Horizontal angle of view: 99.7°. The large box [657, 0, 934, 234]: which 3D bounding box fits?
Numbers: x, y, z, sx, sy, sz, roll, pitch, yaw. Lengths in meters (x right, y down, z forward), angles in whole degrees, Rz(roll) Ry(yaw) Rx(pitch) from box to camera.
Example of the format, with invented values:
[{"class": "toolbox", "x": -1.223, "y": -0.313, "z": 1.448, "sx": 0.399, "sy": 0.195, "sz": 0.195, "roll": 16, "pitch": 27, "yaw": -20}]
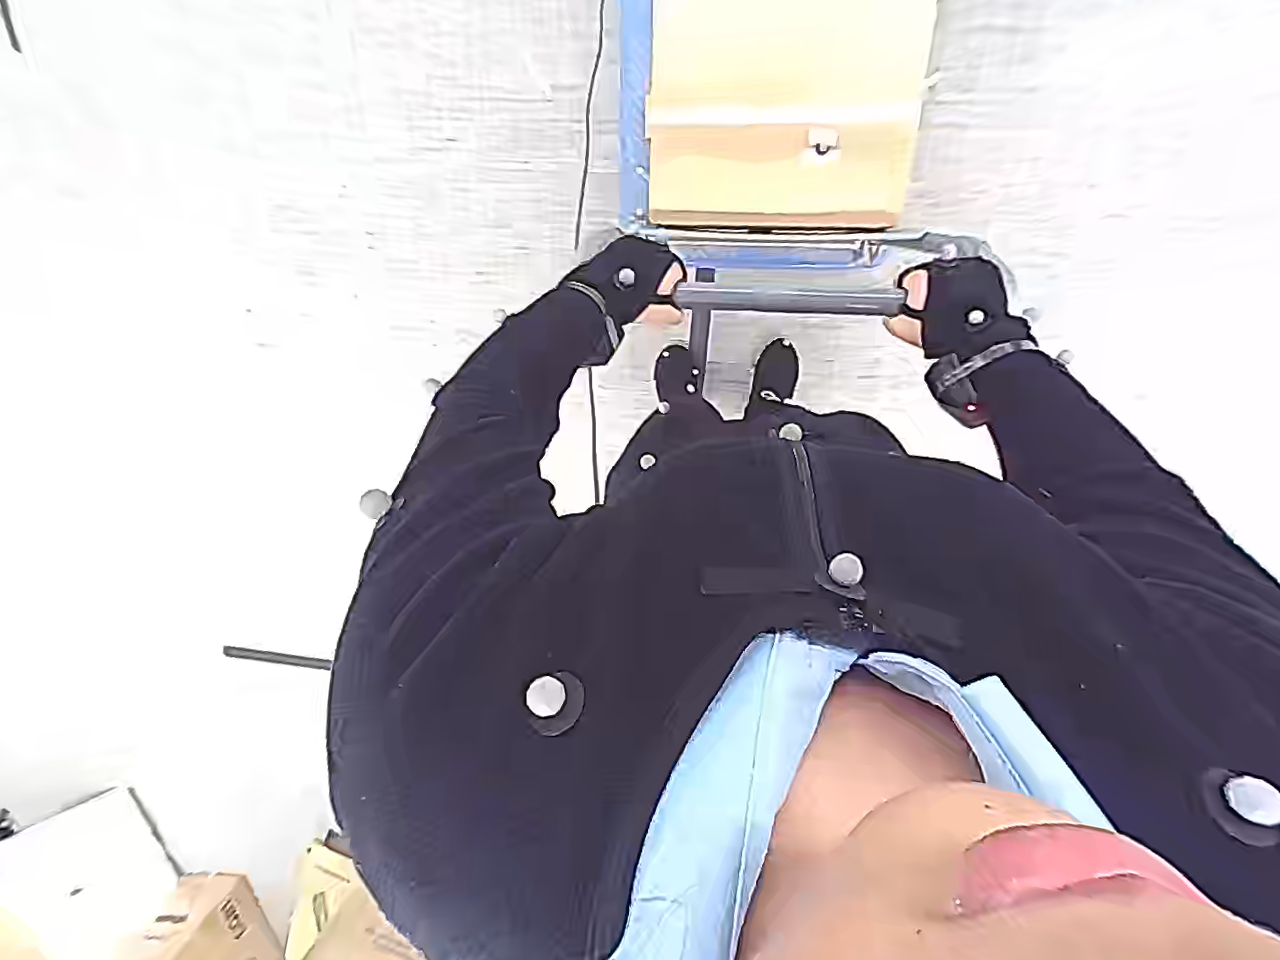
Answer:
[{"class": "large box", "x": 0.240, "y": -0.626, "z": 0.981, "sx": 0.408, "sy": 0.320, "sz": 0.320, "roll": 3, "pitch": 113, "yaw": 6}]
